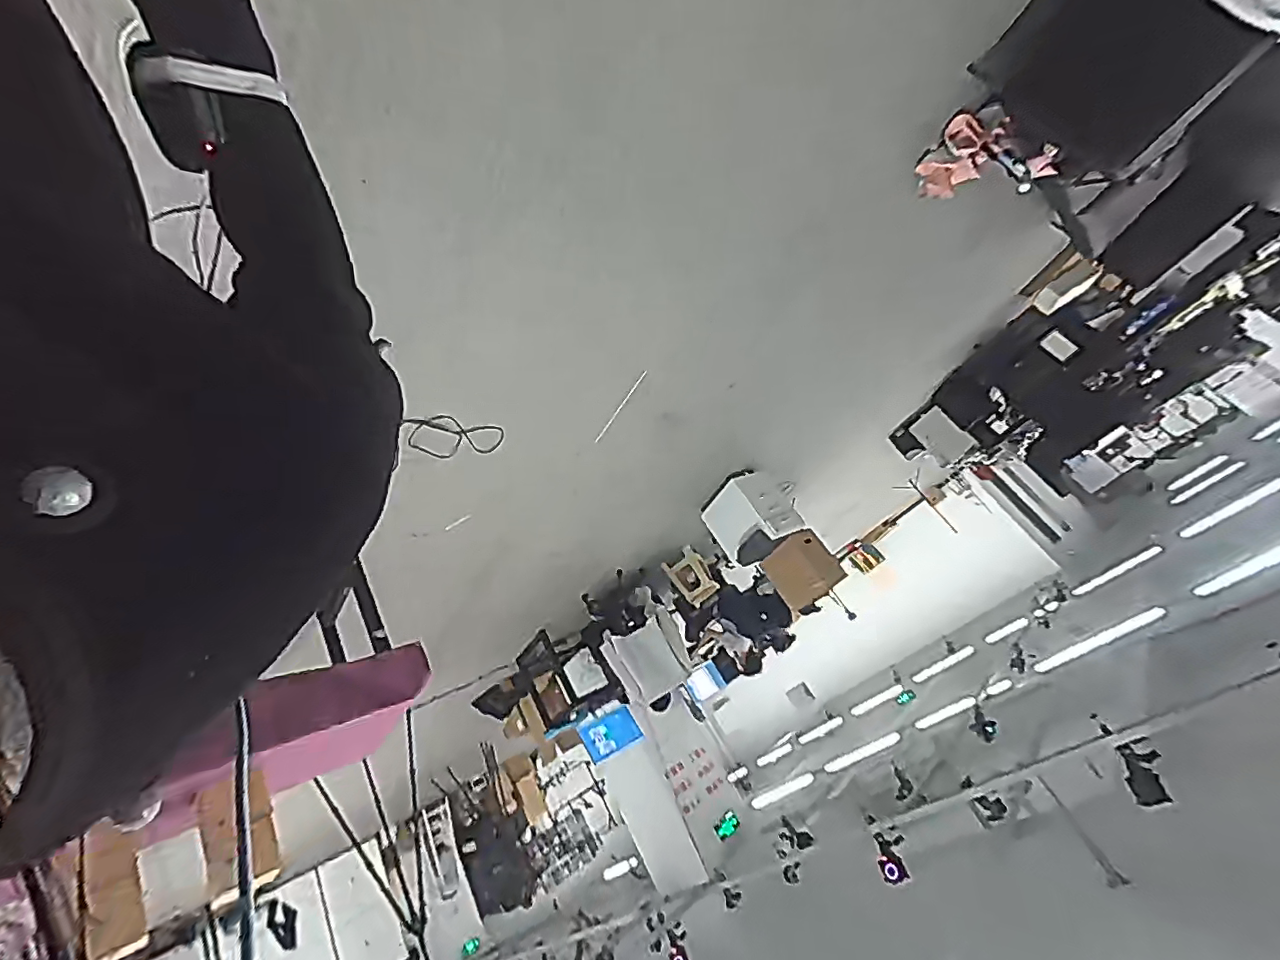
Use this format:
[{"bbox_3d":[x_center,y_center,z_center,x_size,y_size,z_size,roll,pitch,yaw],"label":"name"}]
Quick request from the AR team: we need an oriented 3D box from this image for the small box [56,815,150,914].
[{"bbox_3d":[-1.543,1.107,1.557,0.179,0.176,0.168,-8,145,-45],"label":"small box"}]

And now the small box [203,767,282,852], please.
[{"bbox_3d":[-1.326,1.090,1.802,0.179,0.176,0.168,-3,142,-47],"label":"small box"}]

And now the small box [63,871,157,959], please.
[{"bbox_3d":[-1.458,1.230,1.489,0.179,0.176,0.168,-7,145,-46],"label":"small box"}]

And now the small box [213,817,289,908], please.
[{"bbox_3d":[-1.250,1.215,1.730,0.168,0.176,0.179,-4,143,-46],"label":"small box"}]
